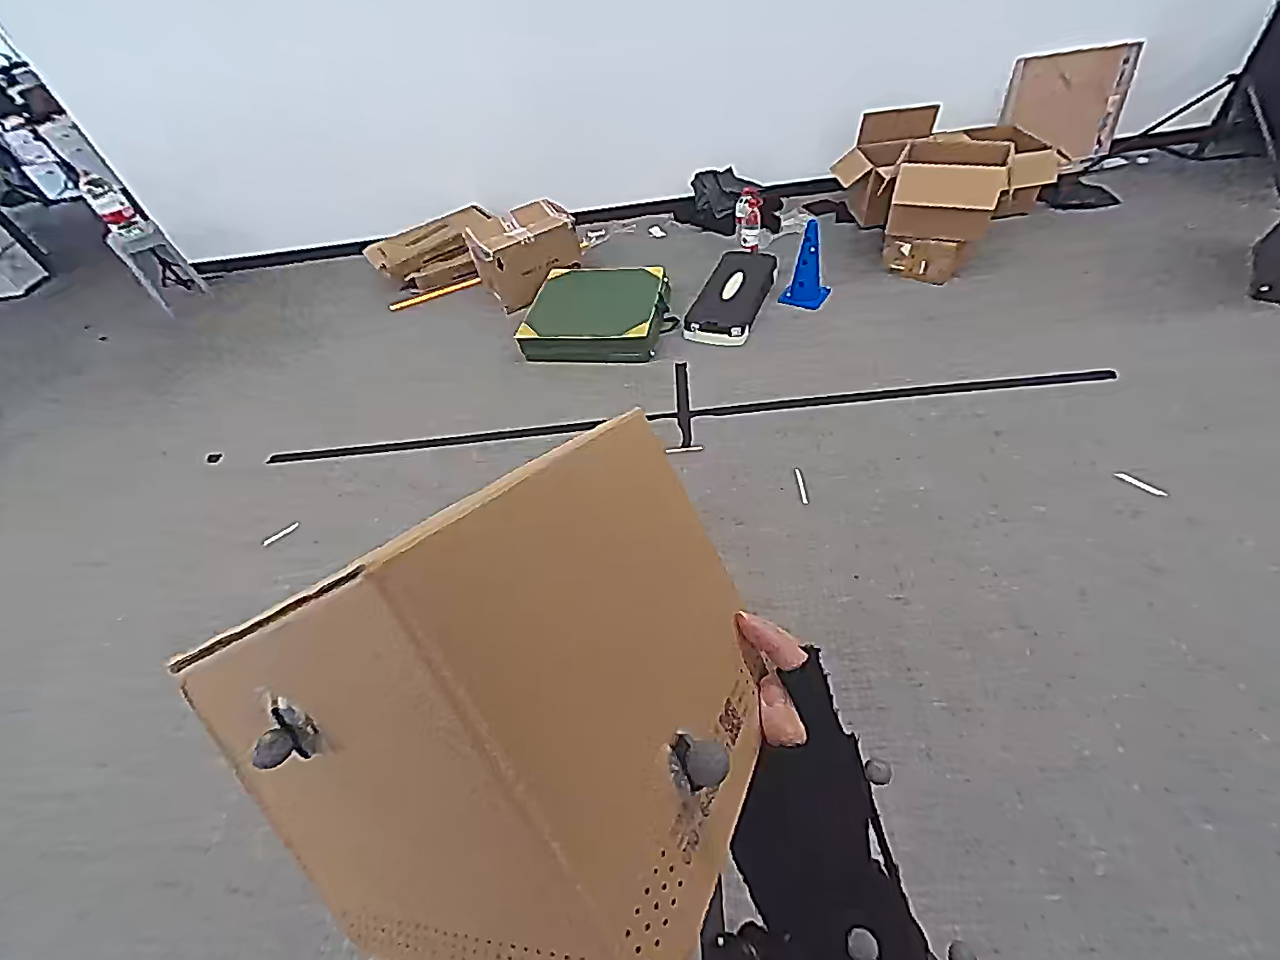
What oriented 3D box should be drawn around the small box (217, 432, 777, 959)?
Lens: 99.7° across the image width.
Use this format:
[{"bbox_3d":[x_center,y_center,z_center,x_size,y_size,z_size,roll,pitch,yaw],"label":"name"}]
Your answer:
[{"bbox_3d":[-0.058,0.102,0.277,0.179,0.176,0.168,-24,8,32],"label":"small box"}]
